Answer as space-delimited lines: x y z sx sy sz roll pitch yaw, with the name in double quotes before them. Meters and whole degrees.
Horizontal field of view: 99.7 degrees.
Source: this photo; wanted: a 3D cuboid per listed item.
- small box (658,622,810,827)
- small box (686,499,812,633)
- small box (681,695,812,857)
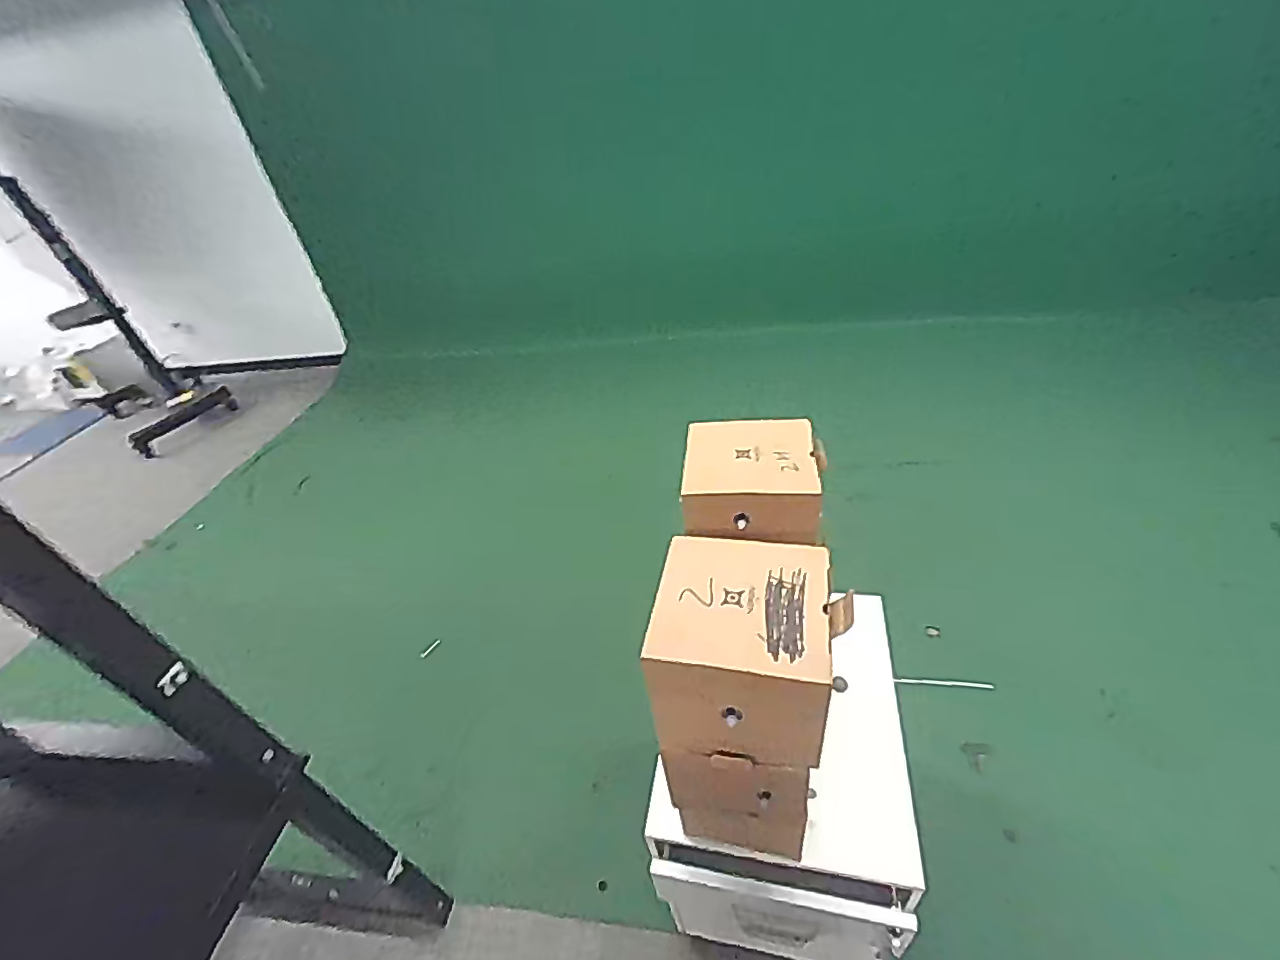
"small box" 0.126 0.308 0.689 0.168 0.176 0.179 2 38 13
"small box" 0.181 0.151 0.877 0.179 0.176 0.168 4 40 16
"small box" 0.158 0.423 0.799 0.179 0.176 0.168 4 39 16
